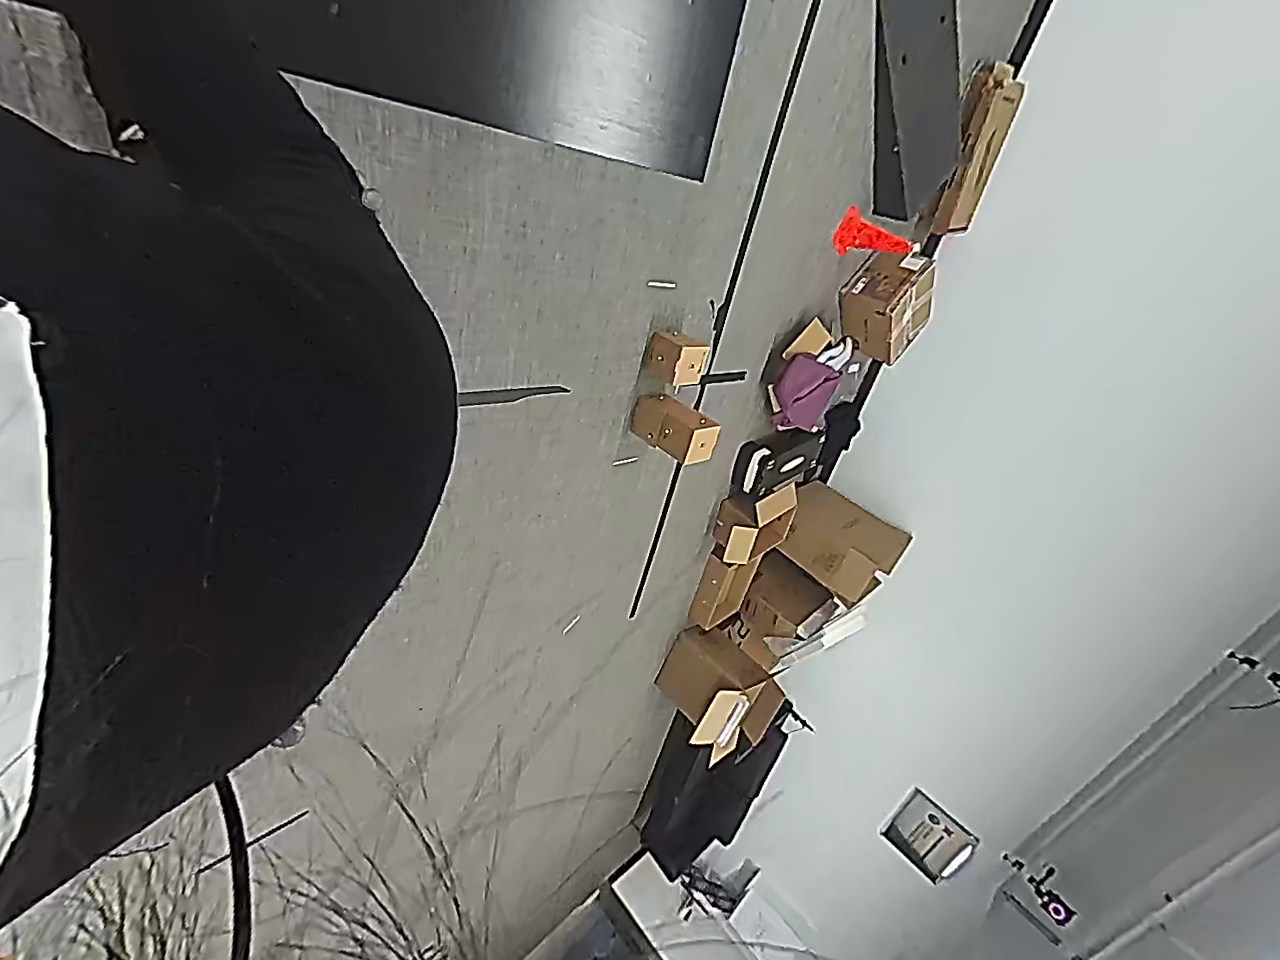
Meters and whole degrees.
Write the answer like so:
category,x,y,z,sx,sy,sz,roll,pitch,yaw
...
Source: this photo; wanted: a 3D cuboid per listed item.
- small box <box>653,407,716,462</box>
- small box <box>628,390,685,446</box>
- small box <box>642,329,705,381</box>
category,x,y,z,sx,sy,sz,roll,pitch,yaw
small box,0.186,-0.199,2.292,0.179,0.176,0.168,-14,130,-42
small box,0.068,-0.275,2.375,0.168,0.176,0.179,-17,133,-42
small box,0.133,-0.516,2.231,0.179,0.176,0.168,-13,130,-44
